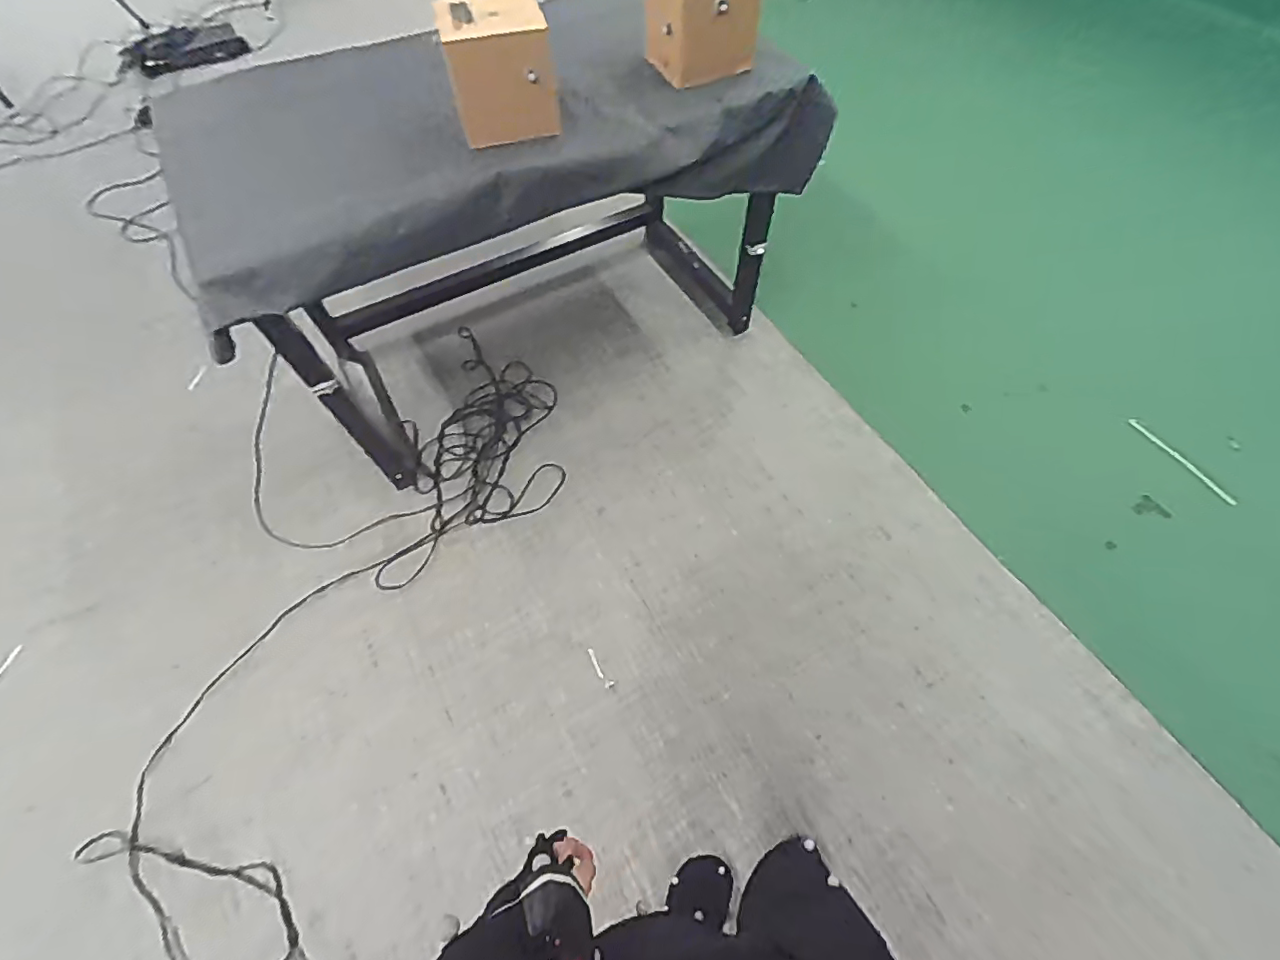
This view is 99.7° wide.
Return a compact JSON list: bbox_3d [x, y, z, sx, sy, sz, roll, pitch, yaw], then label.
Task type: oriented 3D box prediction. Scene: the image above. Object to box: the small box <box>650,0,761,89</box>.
[{"bbox_3d":[0.127,-0.916,1.076,0.179,0.176,0.168,-22,64,-12],"label":"small box"}]
